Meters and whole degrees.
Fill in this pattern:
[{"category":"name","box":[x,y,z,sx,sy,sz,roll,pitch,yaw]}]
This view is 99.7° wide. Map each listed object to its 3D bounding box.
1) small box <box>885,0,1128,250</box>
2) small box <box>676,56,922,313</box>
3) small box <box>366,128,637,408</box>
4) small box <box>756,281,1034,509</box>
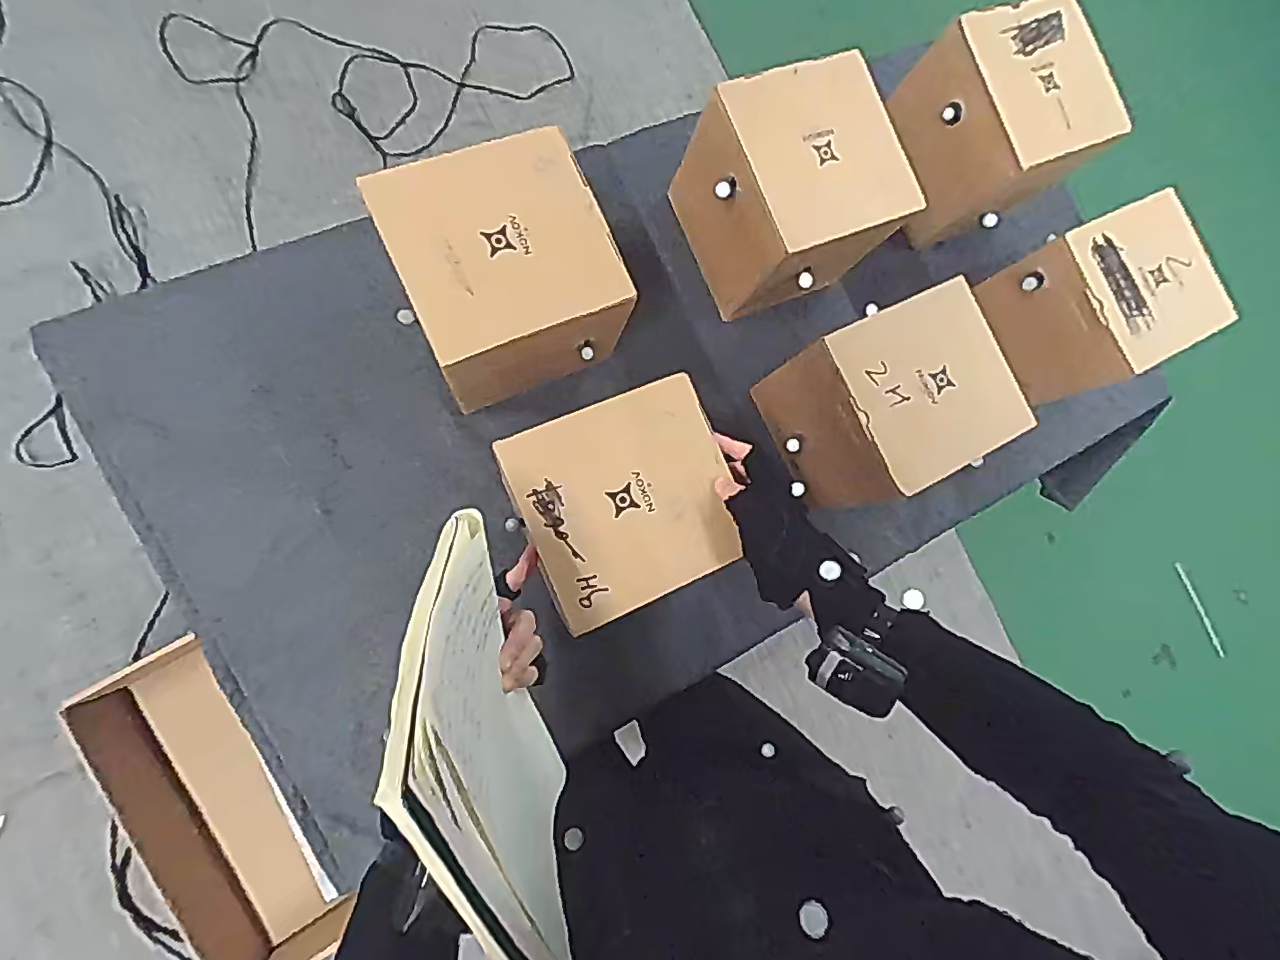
[{"category":"small box","box":[0.418,-0.419,0.659,0.168,0.176,0.179,-23,89,-13]},{"category":"small box","box":[0.159,-0.304,0.596,0.168,0.176,0.179,-23,88,-13]},{"category":"small box","box":[-0.127,-0.188,0.520,0.179,0.176,0.168,-23,87,-14]},{"category":"small box","box":[0.259,-0.080,0.584,0.179,0.176,0.168,-25,87,-14]}]
